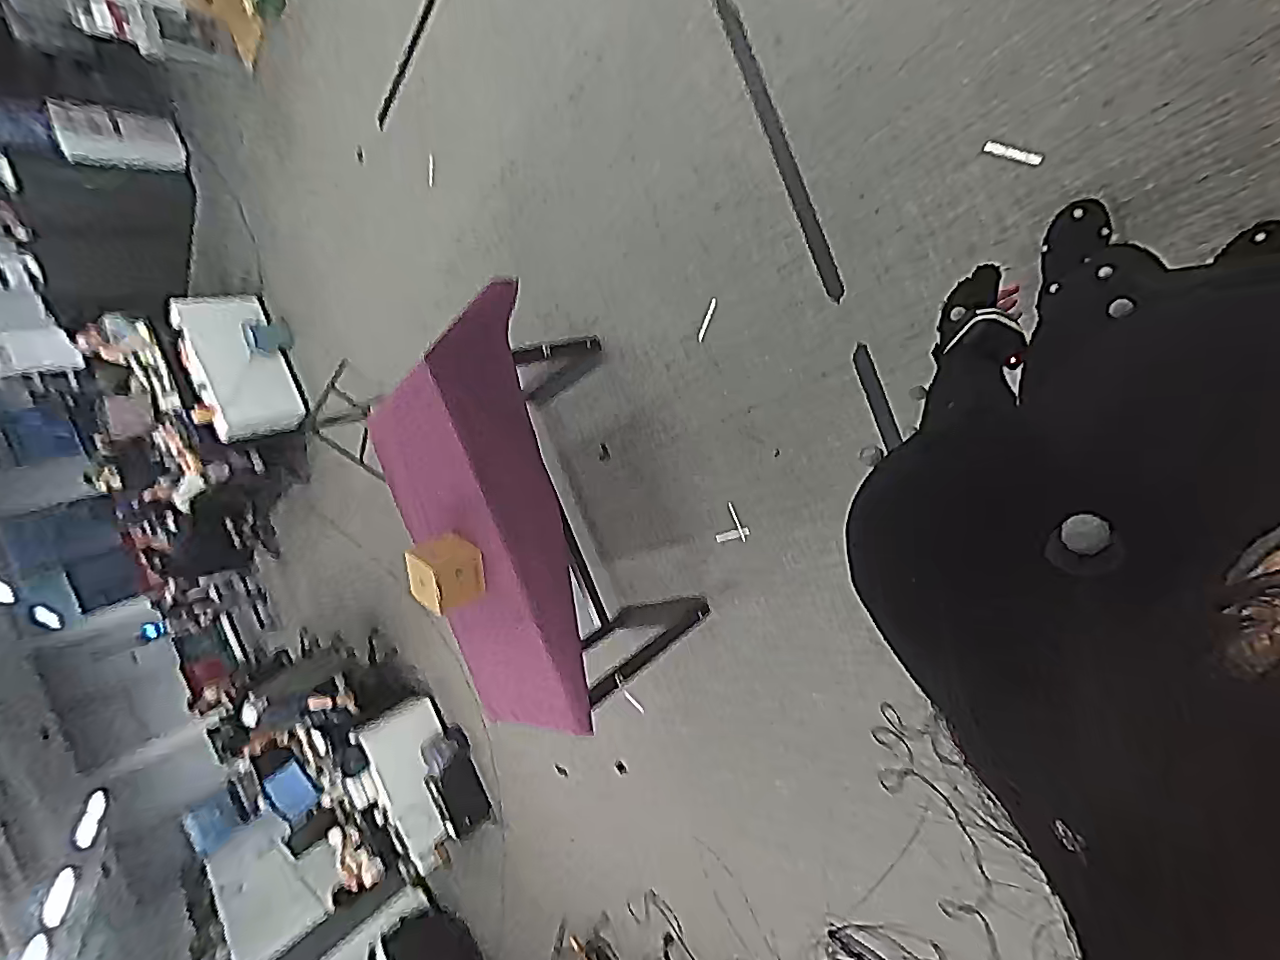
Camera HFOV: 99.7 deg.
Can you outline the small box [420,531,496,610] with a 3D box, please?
[{"bbox_3d":[-0.580,0.284,1.745,0.179,0.176,0.168,20,119,39],"label":"small box"}]
